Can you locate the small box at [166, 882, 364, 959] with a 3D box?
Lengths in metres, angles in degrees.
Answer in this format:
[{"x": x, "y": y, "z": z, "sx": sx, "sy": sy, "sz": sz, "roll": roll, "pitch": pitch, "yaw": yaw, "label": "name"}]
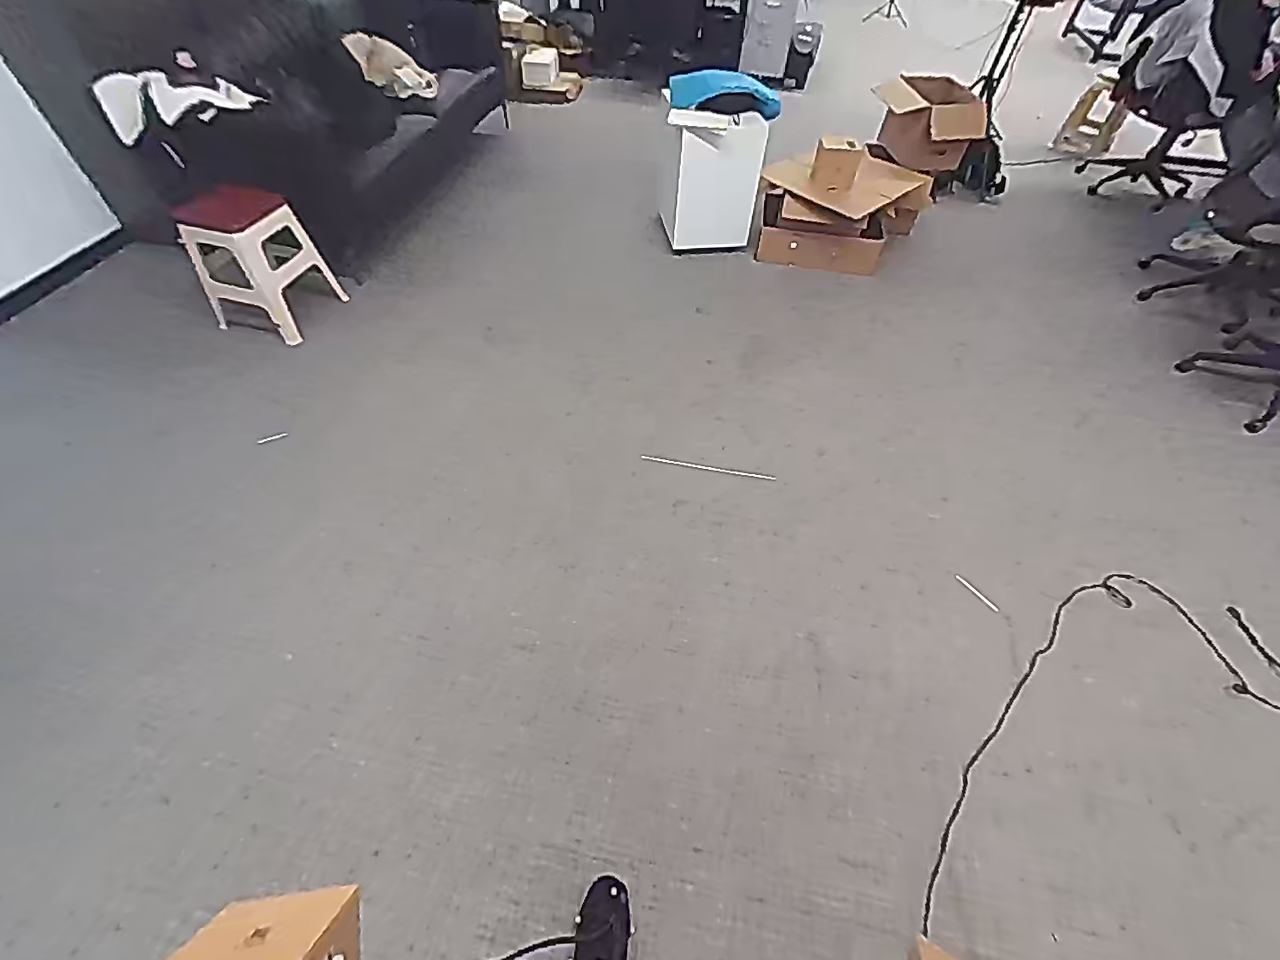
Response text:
[{"x": -0.441, "y": 0.615, "z": 0.627, "sx": 0.168, "sy": 0.179, "sz": 0.176, "roll": -5, "pitch": 80, "yaw": -6, "label": "small box"}]
